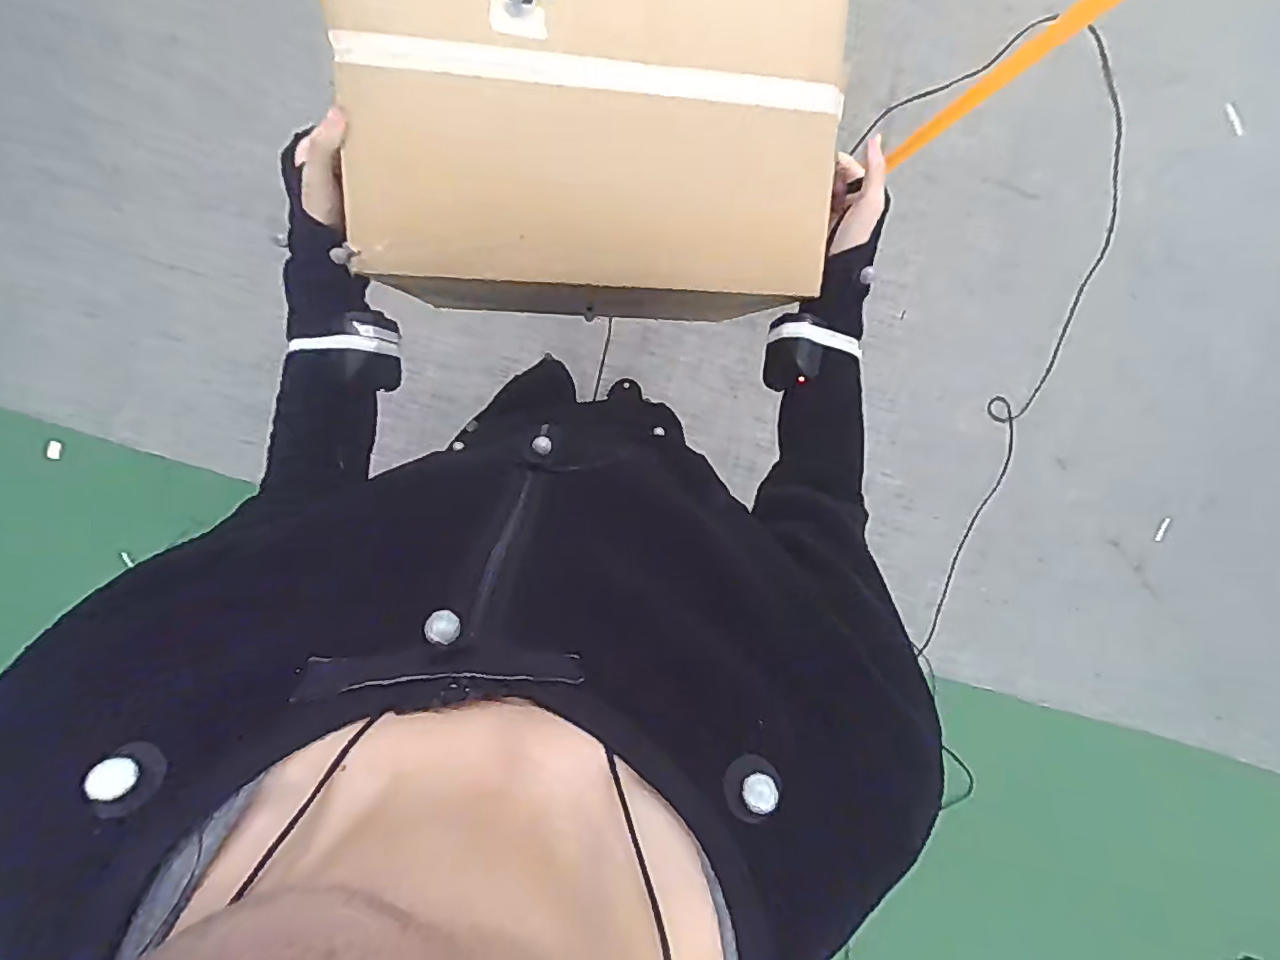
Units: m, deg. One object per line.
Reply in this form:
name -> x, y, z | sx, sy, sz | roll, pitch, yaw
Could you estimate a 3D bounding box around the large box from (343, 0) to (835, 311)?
large box -> -0.052, -0.358, 0.593 | 0.408, 0.320, 0.320 | 0, 102, -9
